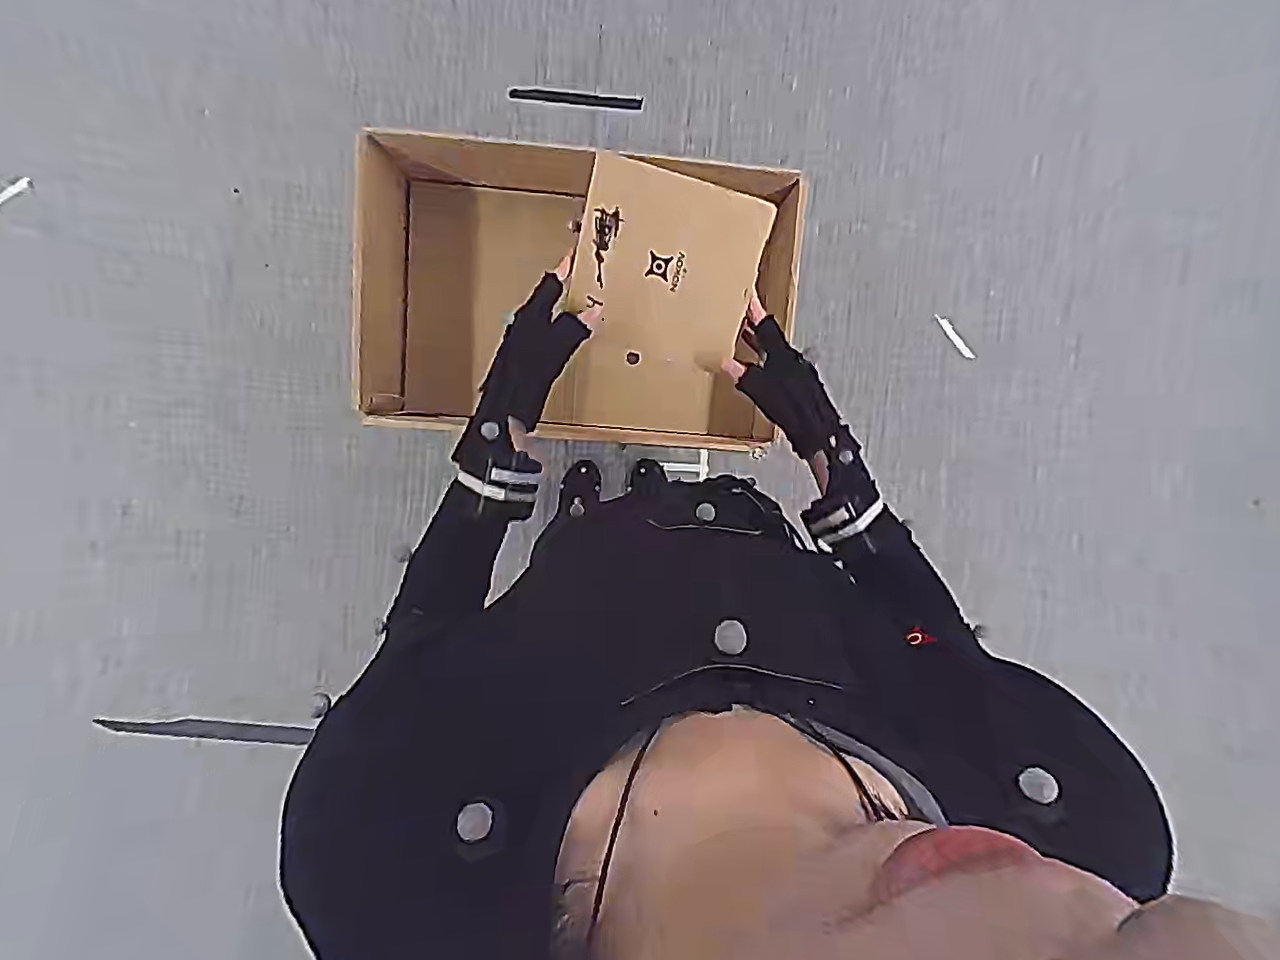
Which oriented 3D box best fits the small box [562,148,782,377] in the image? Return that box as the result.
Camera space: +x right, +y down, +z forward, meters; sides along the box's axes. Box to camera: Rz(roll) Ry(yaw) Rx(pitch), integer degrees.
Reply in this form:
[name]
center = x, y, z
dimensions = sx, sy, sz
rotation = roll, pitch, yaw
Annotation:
[small box]
center = 0.021, -0.220, 0.580
dimensions = 0.179, 0.176, 0.168
rotation = 12, 105, -10
